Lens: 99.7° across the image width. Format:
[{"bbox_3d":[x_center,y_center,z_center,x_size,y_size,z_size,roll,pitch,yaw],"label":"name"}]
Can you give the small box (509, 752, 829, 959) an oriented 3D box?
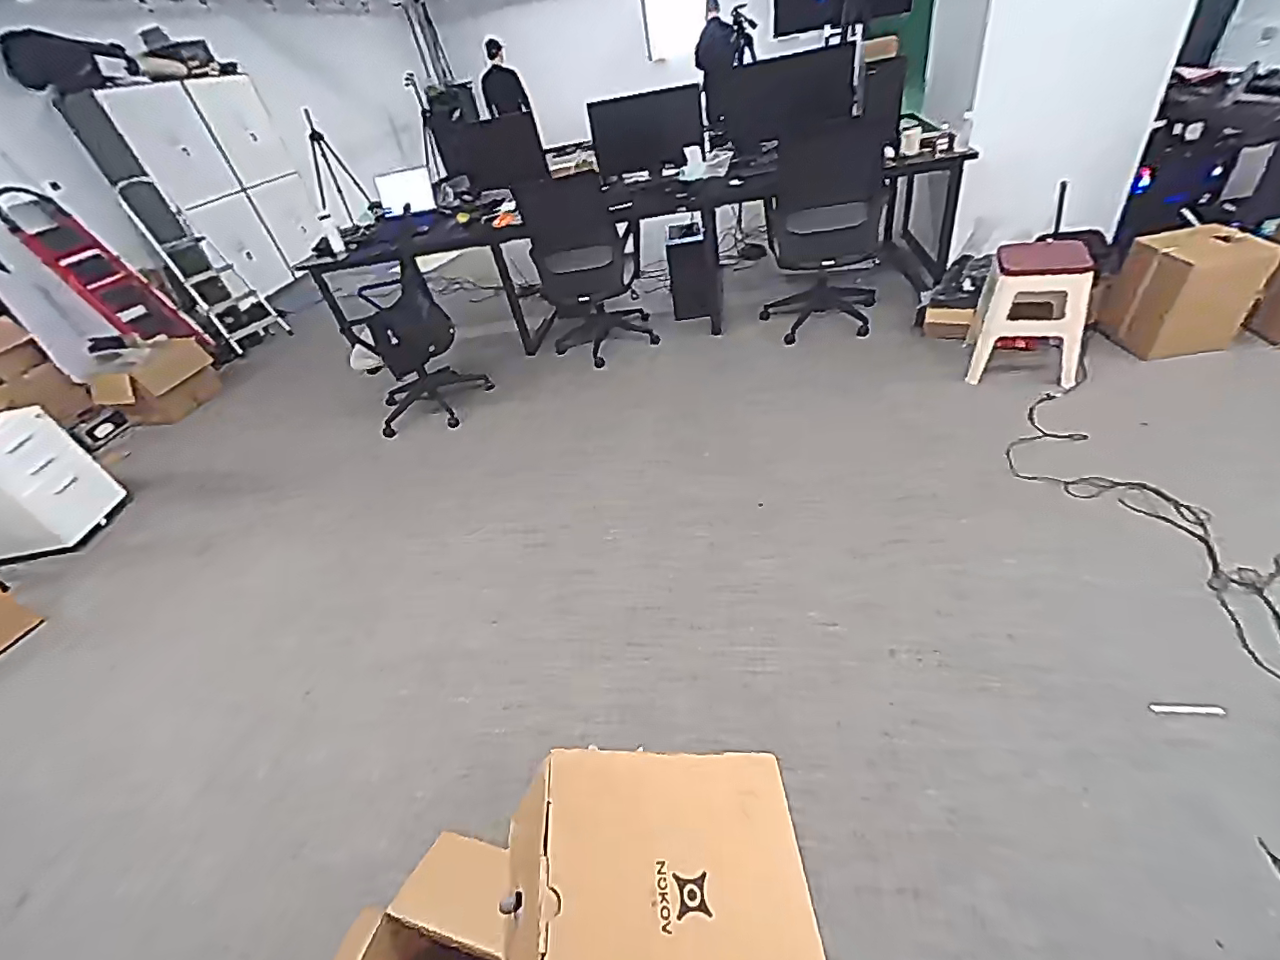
[{"bbox_3d":[0.007,0.310,0.386,0.179,0.176,0.168,9,44,-16],"label":"small box"}]
